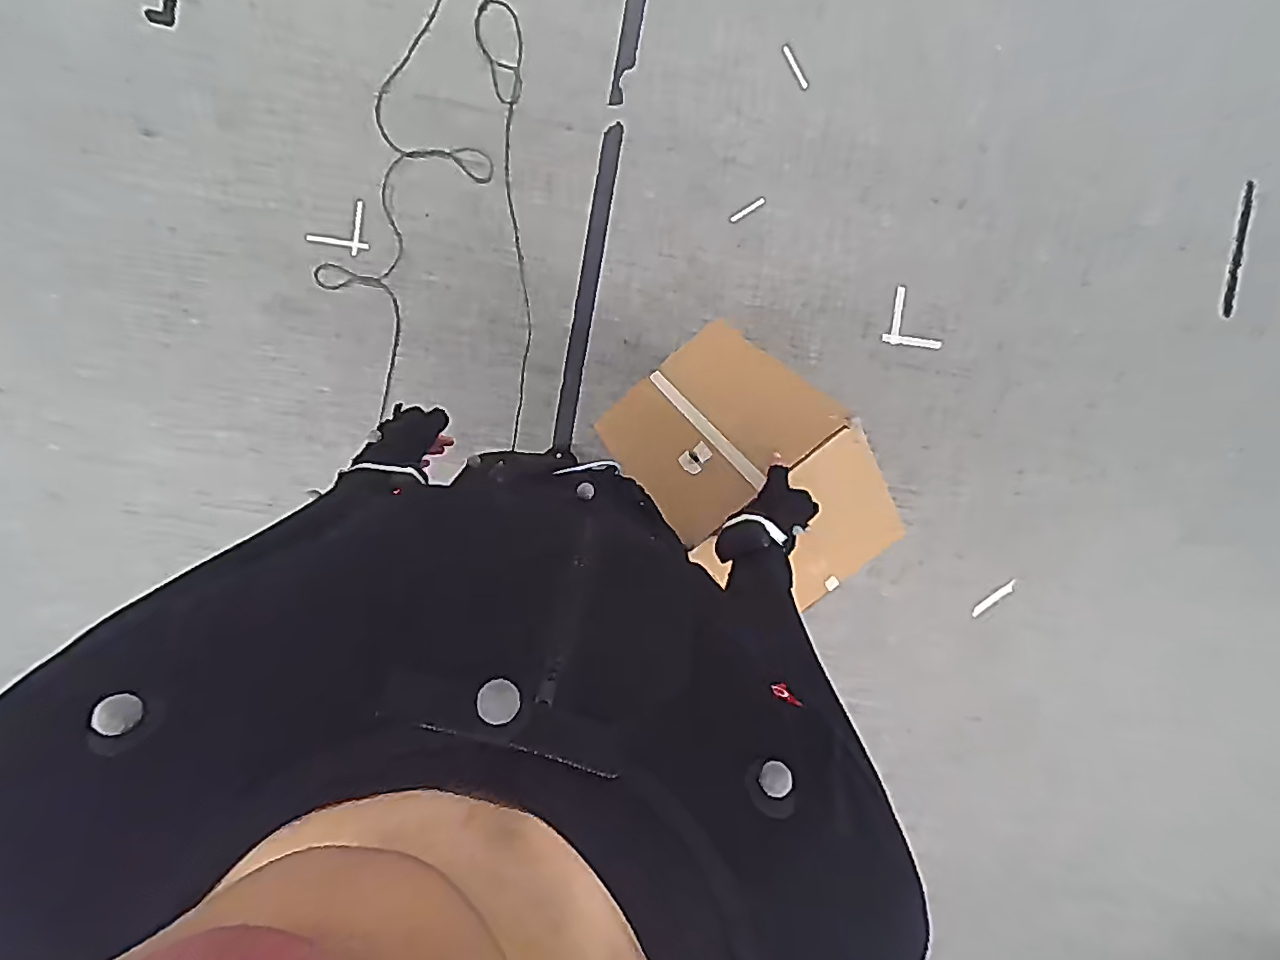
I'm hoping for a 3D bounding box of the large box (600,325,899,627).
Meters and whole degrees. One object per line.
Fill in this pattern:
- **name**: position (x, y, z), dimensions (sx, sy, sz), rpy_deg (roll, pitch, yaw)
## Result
- **large box**: position (0.187, -0.015, 0.997), dimensions (0.320, 0.408, 0.320), rpy_deg (-41, 131, 6)
